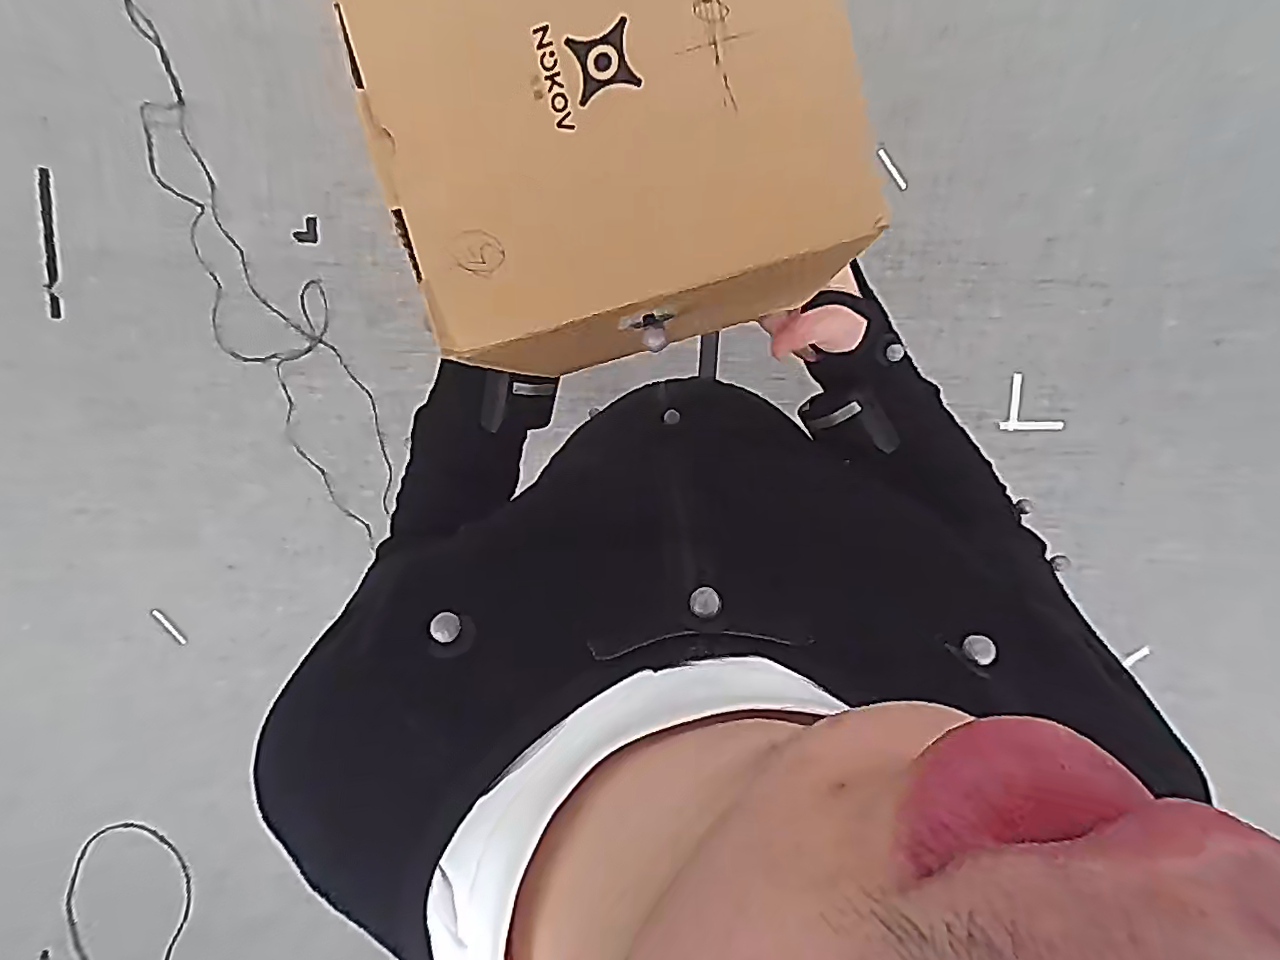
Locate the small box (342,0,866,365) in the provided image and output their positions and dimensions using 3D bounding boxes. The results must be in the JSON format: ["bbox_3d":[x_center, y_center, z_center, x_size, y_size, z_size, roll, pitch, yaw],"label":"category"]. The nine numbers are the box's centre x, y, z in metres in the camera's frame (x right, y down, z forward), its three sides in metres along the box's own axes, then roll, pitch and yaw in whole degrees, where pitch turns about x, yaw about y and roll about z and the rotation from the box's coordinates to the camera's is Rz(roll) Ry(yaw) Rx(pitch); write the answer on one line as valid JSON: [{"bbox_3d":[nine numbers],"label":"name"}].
[{"bbox_3d":[-0.009,-0.163,0.283,0.179,0.176,0.168,-15,97,8],"label":"small box"}]
